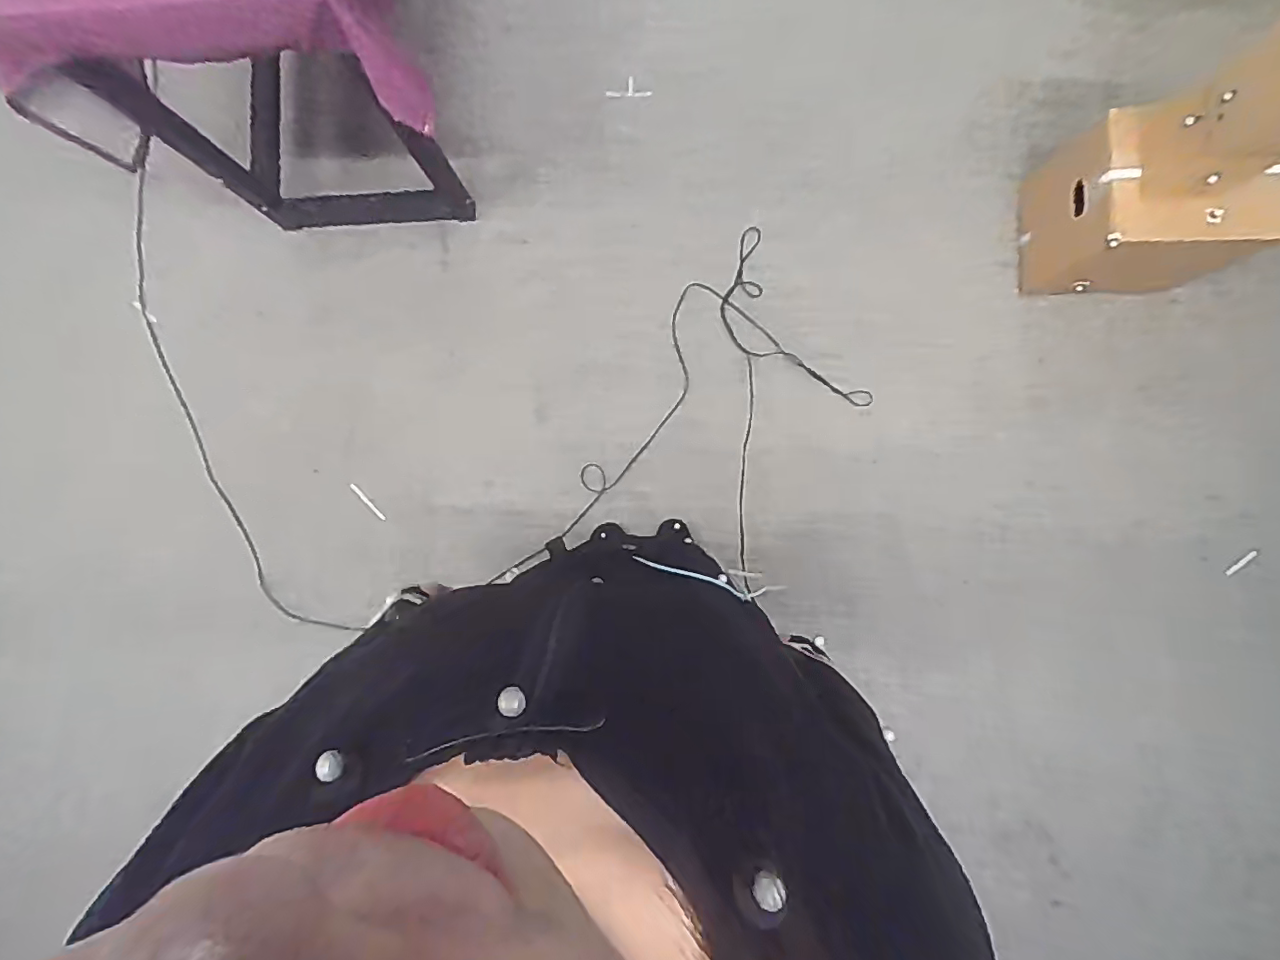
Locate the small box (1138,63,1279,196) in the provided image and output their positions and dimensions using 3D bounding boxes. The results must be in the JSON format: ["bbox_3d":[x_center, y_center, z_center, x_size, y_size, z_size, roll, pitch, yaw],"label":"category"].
[{"bbox_3d":[1.188,-0.713,1.120,0.168,0.176,0.179,-1,87,2],"label":"small box"}]
